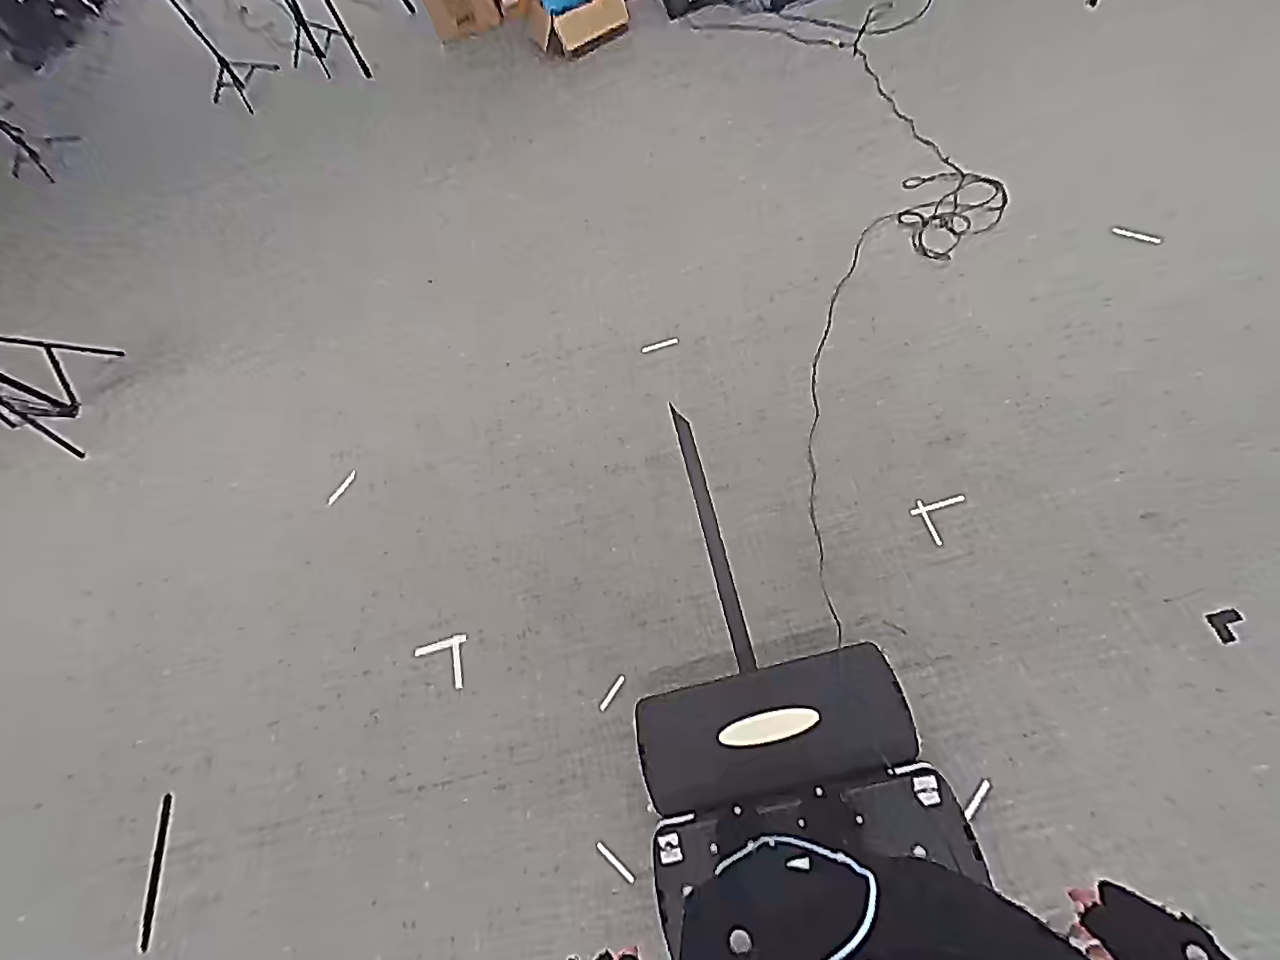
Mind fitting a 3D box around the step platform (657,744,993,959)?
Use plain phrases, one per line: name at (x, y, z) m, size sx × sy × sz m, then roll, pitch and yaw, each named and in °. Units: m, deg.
step platform at (0.382, 0.818, 1.208) m, size 0.684 × 0.204 × 0.286 m, roll -18°, pitch 62°, yaw 6°
